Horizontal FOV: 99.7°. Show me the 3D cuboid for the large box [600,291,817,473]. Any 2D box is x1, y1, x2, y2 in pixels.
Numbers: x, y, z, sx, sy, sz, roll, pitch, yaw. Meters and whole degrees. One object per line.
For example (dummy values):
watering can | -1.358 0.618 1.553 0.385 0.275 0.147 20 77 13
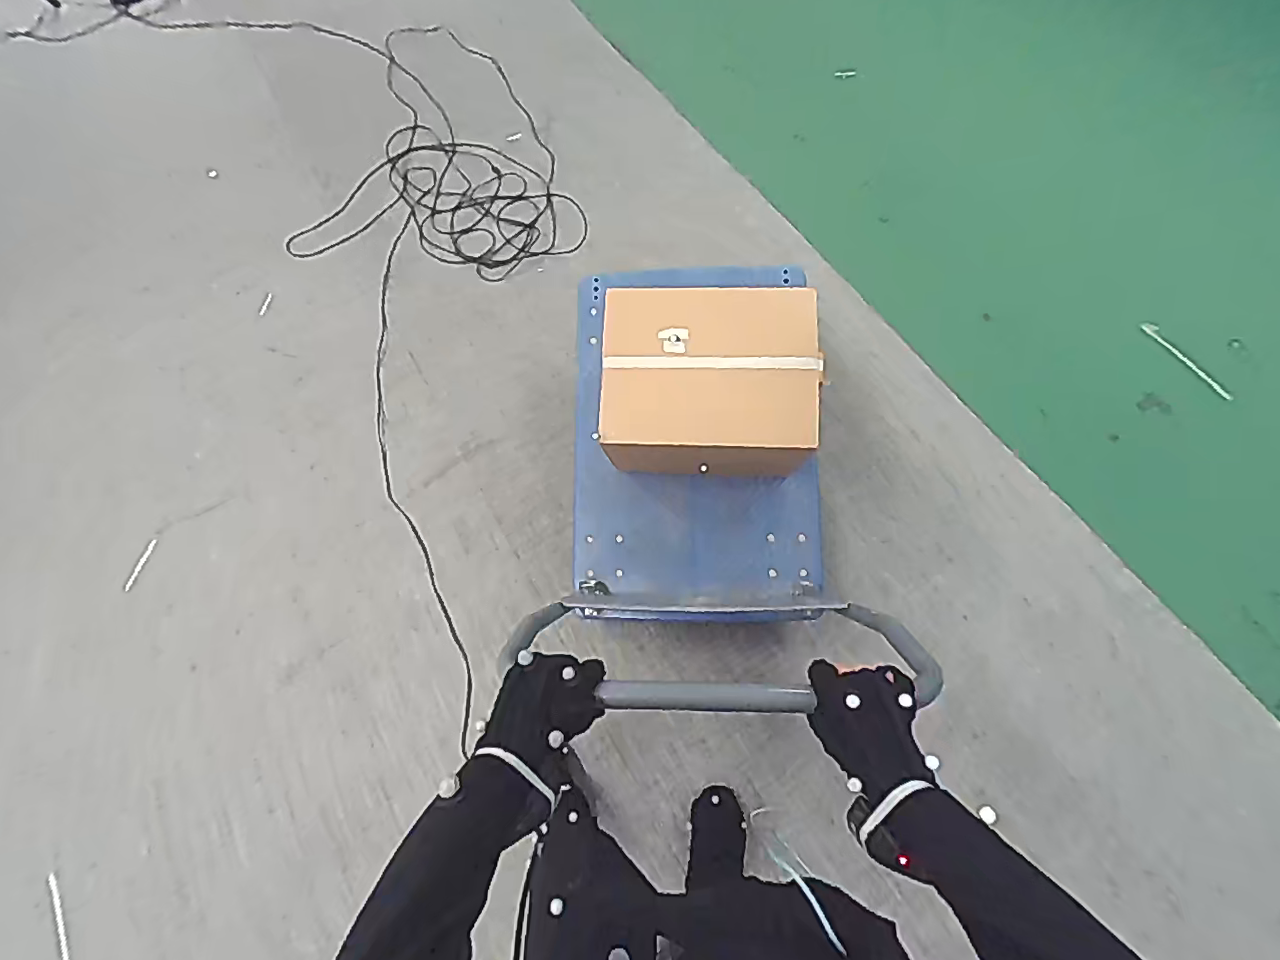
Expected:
large box | 0.145 -0.187 1.161 0.408 0.320 0.320 2 81 6
